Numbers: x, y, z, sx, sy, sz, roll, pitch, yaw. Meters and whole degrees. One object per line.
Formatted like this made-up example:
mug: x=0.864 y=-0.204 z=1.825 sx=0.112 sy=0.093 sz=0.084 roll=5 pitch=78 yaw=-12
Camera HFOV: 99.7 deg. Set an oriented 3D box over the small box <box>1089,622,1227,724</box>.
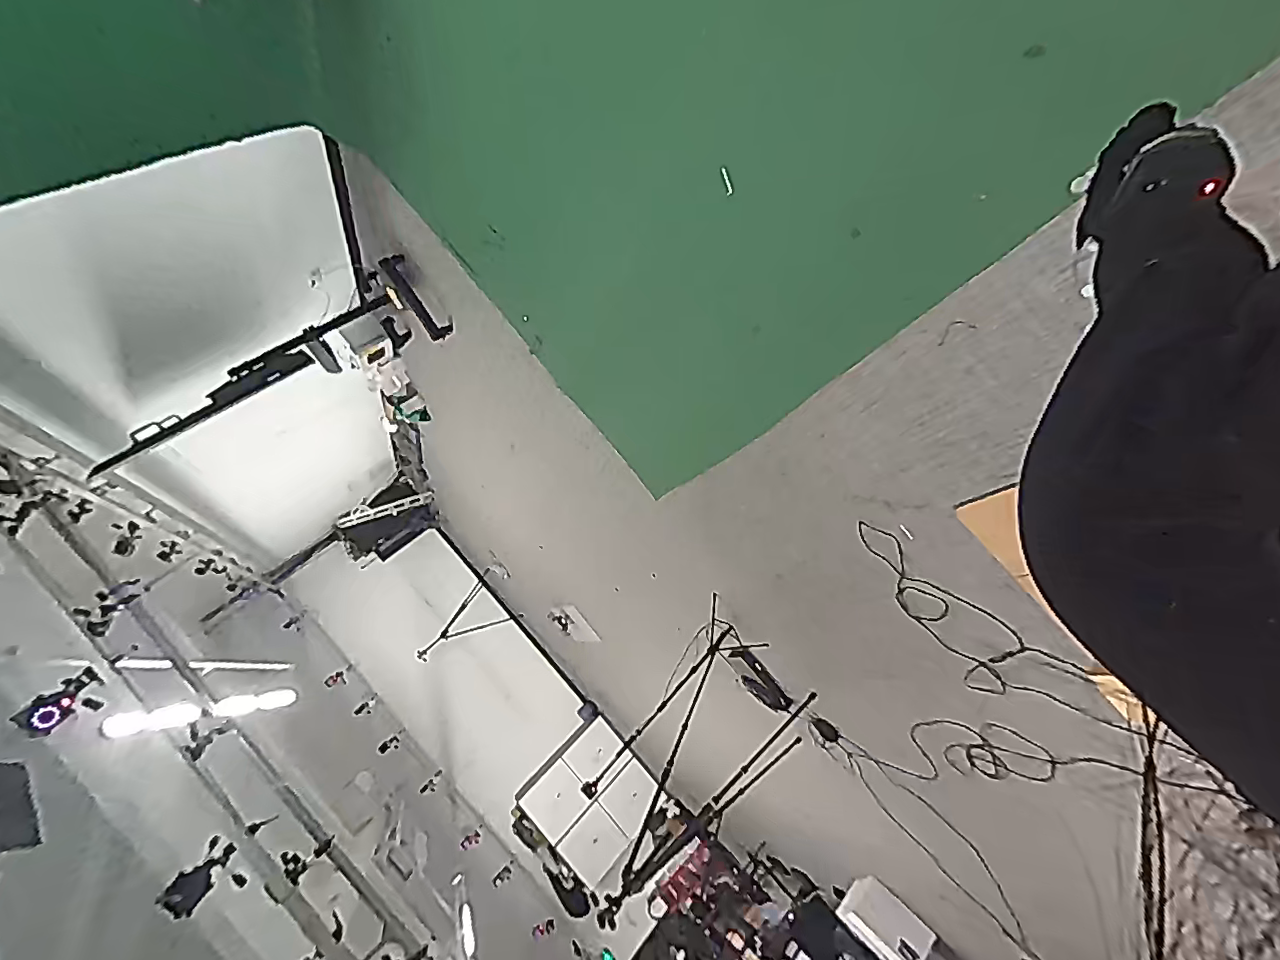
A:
small box: x=1.287 y=0.474 z=1.344 sx=0.168 sy=0.176 sz=0.179 roll=48 pitch=153 yaw=3
